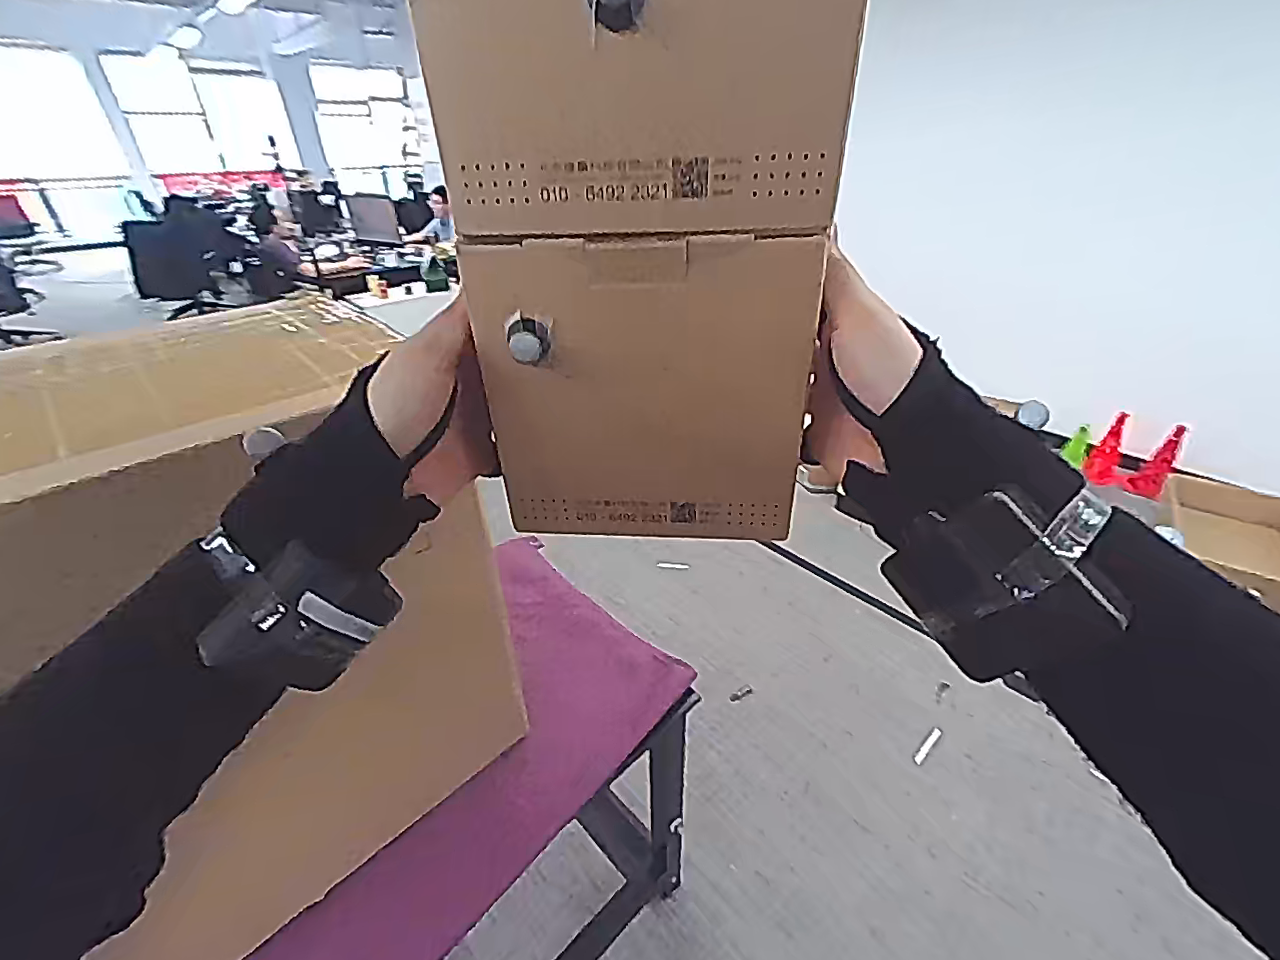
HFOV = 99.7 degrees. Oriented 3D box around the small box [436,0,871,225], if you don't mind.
[{"bbox_3d":[0.010,-0.224,0.260,0.168,0.176,0.179,1,33,5],"label":"small box"}]
